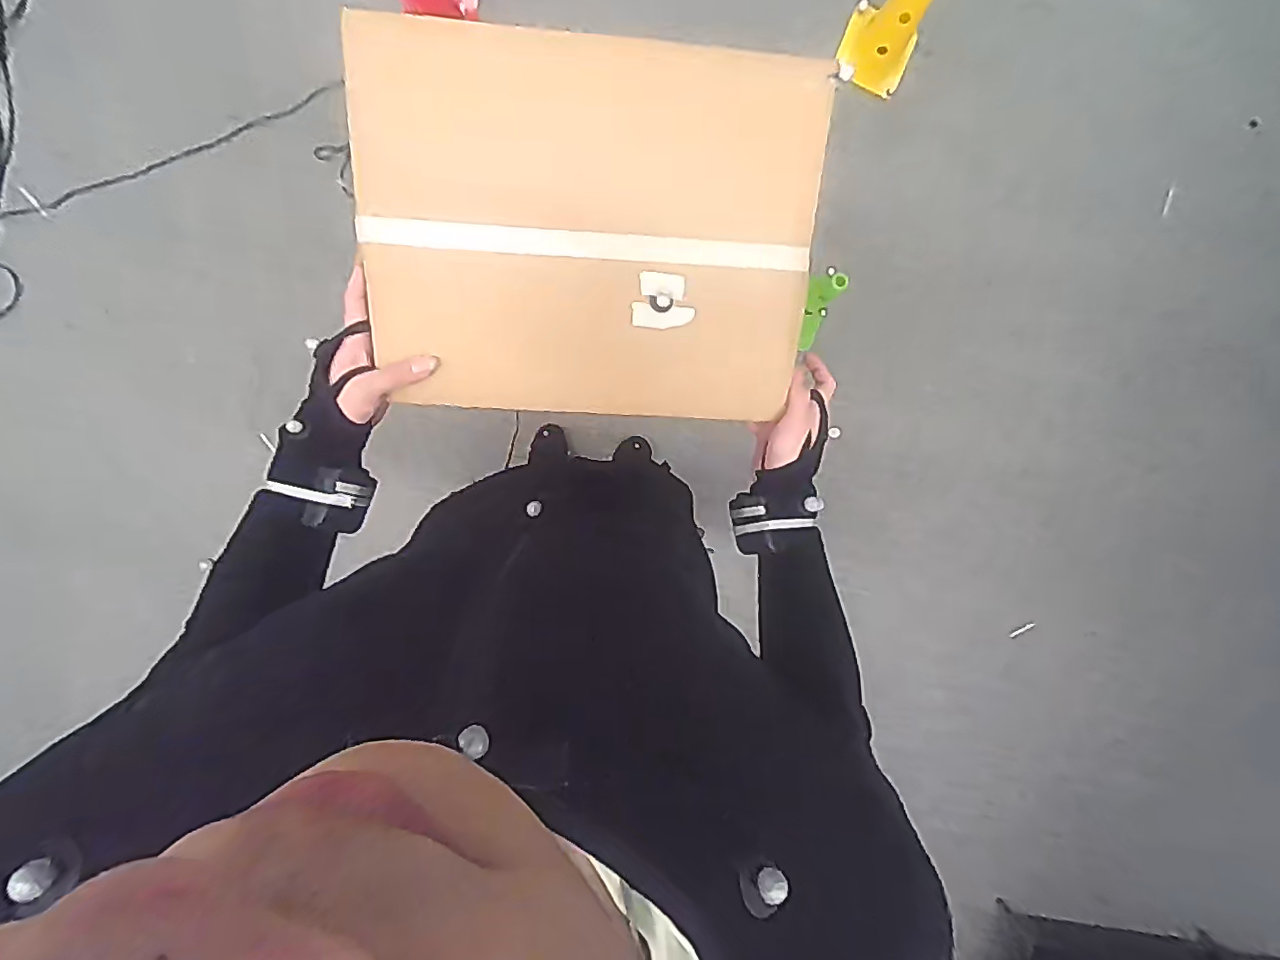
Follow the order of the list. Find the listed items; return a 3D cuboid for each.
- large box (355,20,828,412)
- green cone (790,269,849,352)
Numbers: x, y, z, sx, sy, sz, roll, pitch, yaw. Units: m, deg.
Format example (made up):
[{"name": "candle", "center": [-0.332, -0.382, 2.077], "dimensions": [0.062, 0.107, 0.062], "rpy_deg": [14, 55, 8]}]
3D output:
[{"name": "large box", "center": [-0.053, -0.268, 0.638], "dimensions": [0.408, 0.320, 0.320], "rpy_deg": [2, 110, -5]}, {"name": "green cone", "center": [0.459, -0.486, 1.441], "dimensions": [0.200, 0.368, 0.202], "rpy_deg": [18, 94, -6]}]
